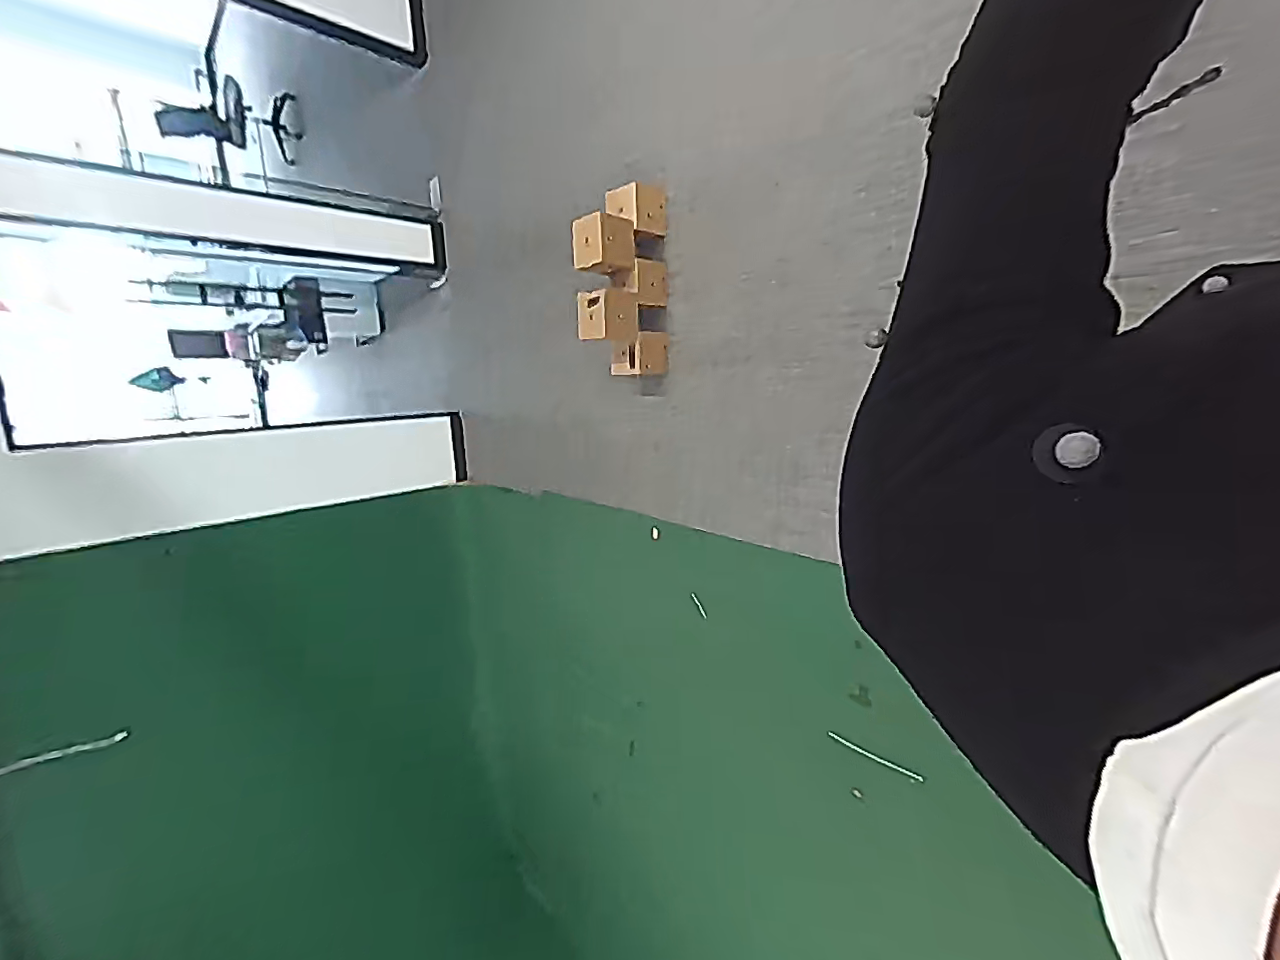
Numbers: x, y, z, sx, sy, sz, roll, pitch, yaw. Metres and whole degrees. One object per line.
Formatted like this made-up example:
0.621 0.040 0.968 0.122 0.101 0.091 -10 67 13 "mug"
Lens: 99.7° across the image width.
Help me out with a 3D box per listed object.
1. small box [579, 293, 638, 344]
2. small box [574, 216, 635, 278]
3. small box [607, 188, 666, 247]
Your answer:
-0.120 -0.617 2.087 0.168 0.176 0.179 12 108 45 "small box"
-0.131 -0.874 2.049 0.168 0.176 0.179 7 101 45 "small box"
-0.011 -1.029 2.131 0.179 0.176 0.168 10 105 46 "small box"
